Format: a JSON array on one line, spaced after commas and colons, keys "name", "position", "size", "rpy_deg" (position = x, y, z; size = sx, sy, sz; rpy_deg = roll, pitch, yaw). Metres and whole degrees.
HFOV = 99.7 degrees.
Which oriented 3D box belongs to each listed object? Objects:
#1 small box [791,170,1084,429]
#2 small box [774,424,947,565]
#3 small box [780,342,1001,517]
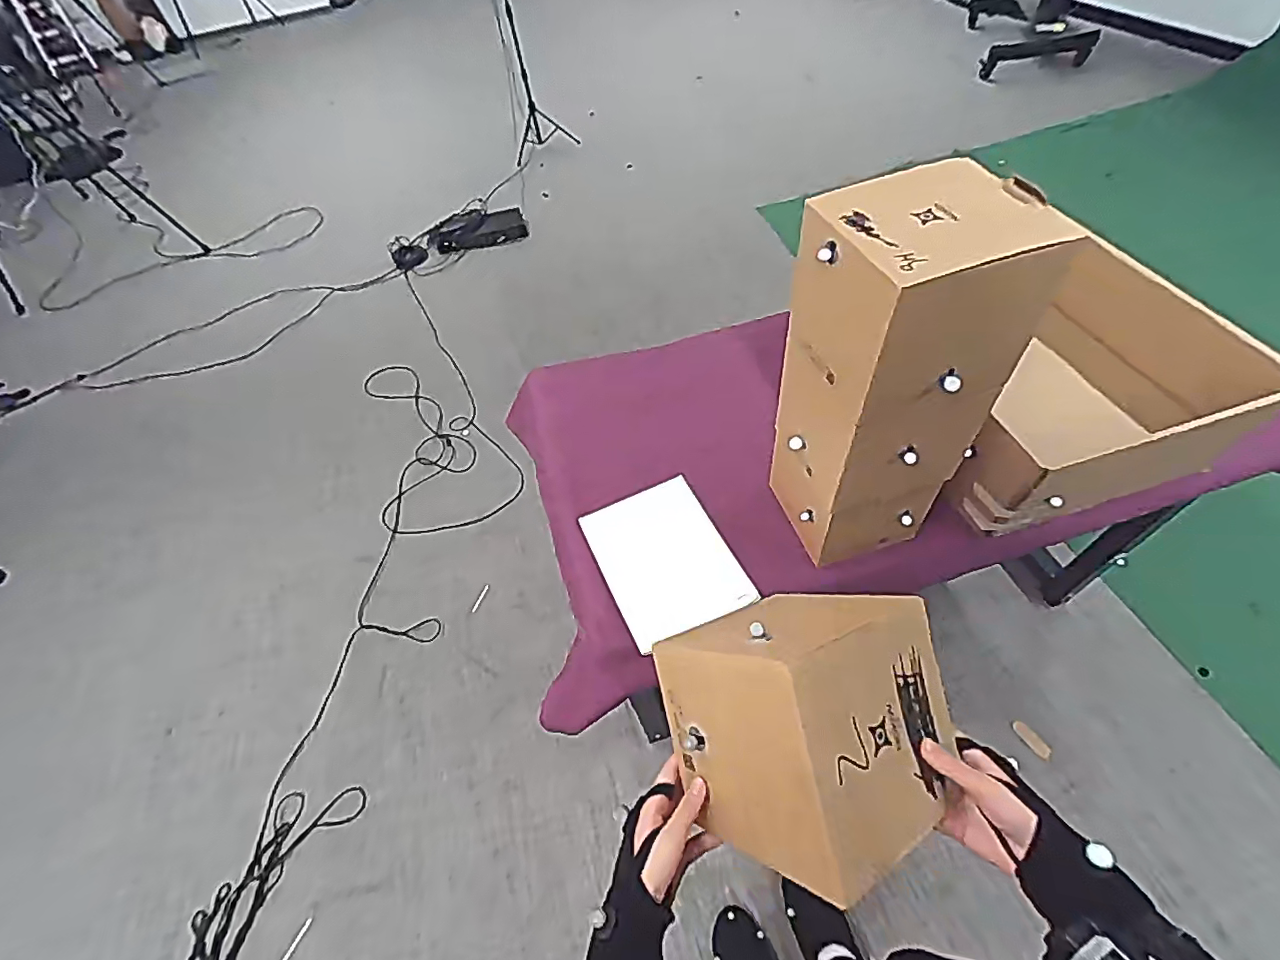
[{"name": "small box", "position": [0.273, -0.179, 0.550], "size": [0.179, 0.176, 0.168], "rpy_deg": [-16, 51, -5]}, {"name": "small box", "position": [0.315, 0.009, 0.815], "size": [0.168, 0.176, 0.179], "rpy_deg": [-16, 51, -4]}, {"name": "small box", "position": [0.292, -0.080, 0.679], "size": [0.179, 0.176, 0.168], "rpy_deg": [-16, 51, -4]}]
